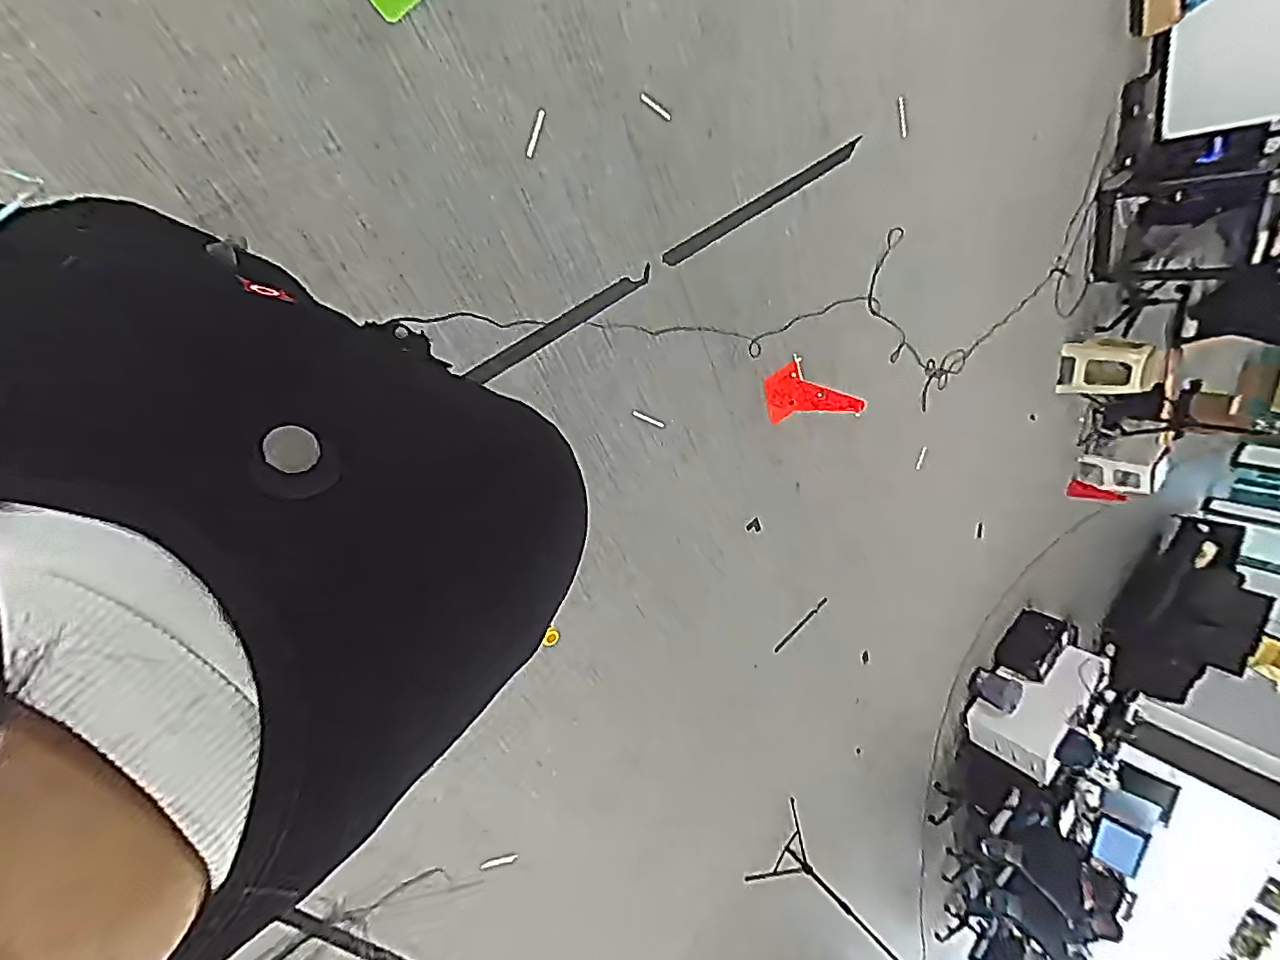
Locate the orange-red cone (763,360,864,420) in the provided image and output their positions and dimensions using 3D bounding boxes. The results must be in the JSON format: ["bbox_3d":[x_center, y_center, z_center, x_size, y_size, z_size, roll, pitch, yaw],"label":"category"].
[{"bbox_3d":[0.664,-0.312,2.009,0.199,0.360,0.198,-32,121,-23],"label":"orange-red cone"}]

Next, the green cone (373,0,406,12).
[{"bbox_3d":[-0.429,-1.061,0.964,0.202,0.368,0.200,-53,128,-11],"label":"green cone"}]
